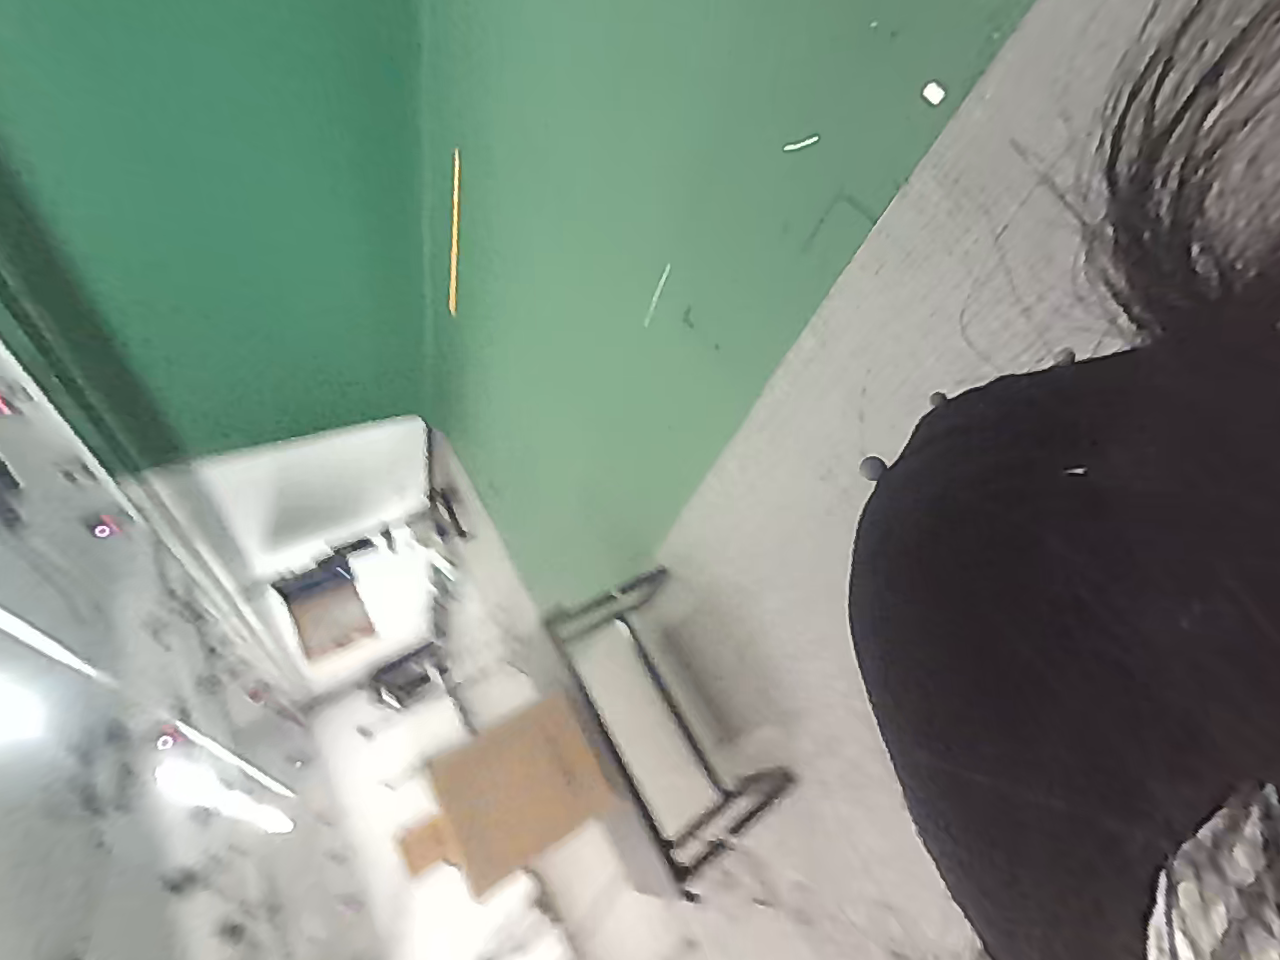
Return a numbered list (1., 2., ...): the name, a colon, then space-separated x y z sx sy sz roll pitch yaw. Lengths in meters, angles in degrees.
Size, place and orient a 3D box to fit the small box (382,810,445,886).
1. small box: -0.849 1.369 2.027 0.168 0.176 0.179 62 144 11
